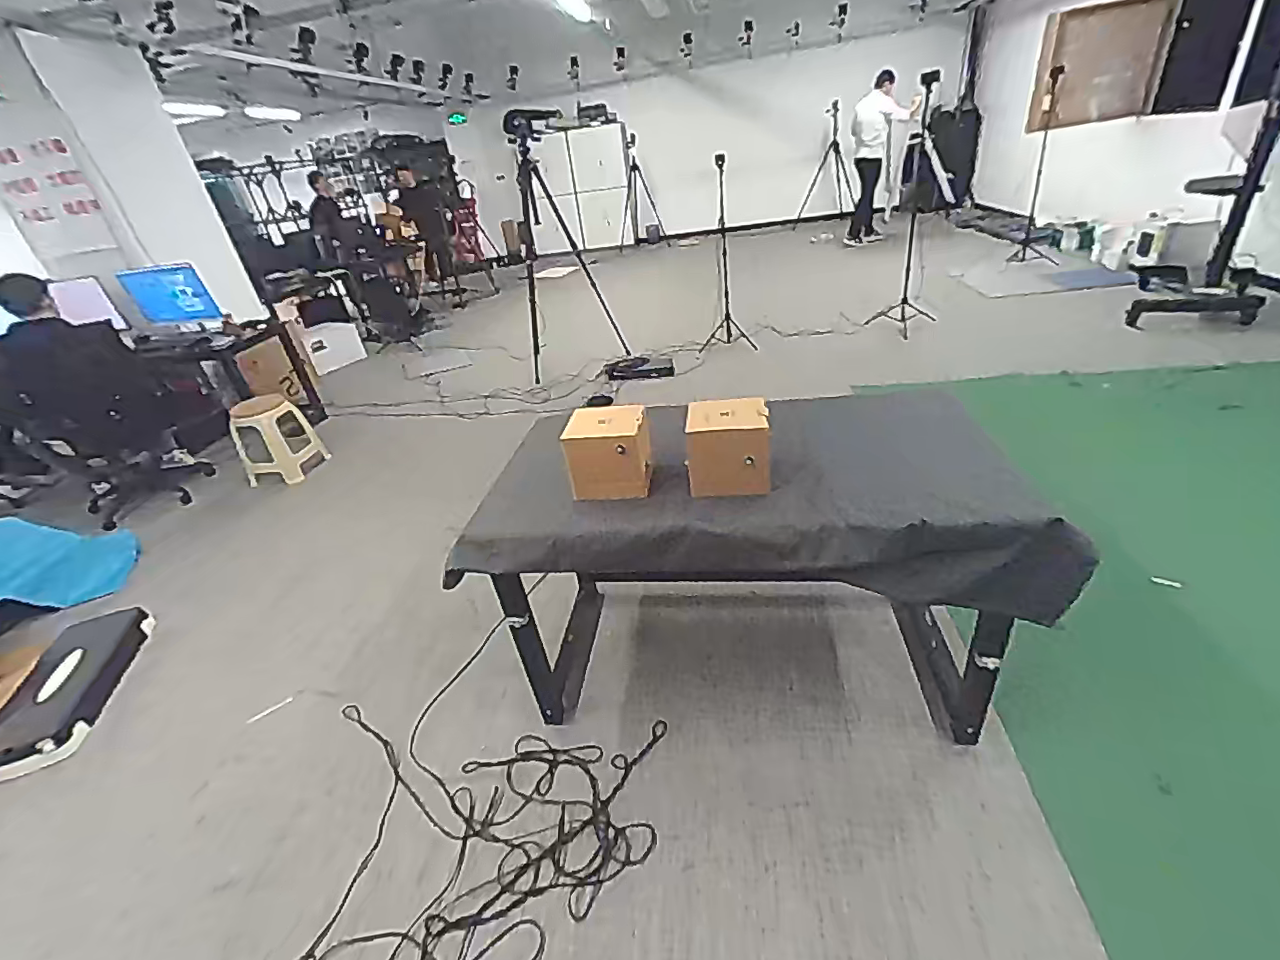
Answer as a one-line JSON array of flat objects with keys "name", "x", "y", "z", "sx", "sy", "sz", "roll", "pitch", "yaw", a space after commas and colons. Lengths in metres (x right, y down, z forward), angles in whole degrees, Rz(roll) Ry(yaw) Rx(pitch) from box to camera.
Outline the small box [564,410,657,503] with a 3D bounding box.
[{"name": "small box", "x": -0.063, "y": -0.054, "z": 1.294, "sx": 0.179, "sy": 0.176, "sz": 0.168, "roll": -3, "pitch": 30, "yaw": 10}]

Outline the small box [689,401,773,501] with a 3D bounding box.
[{"name": "small box", "x": 0.211, "y": -0.065, "z": 1.236, "sx": 0.179, "sy": 0.176, "sz": 0.168, "roll": -4, "pitch": 29, "yaw": 12}]
